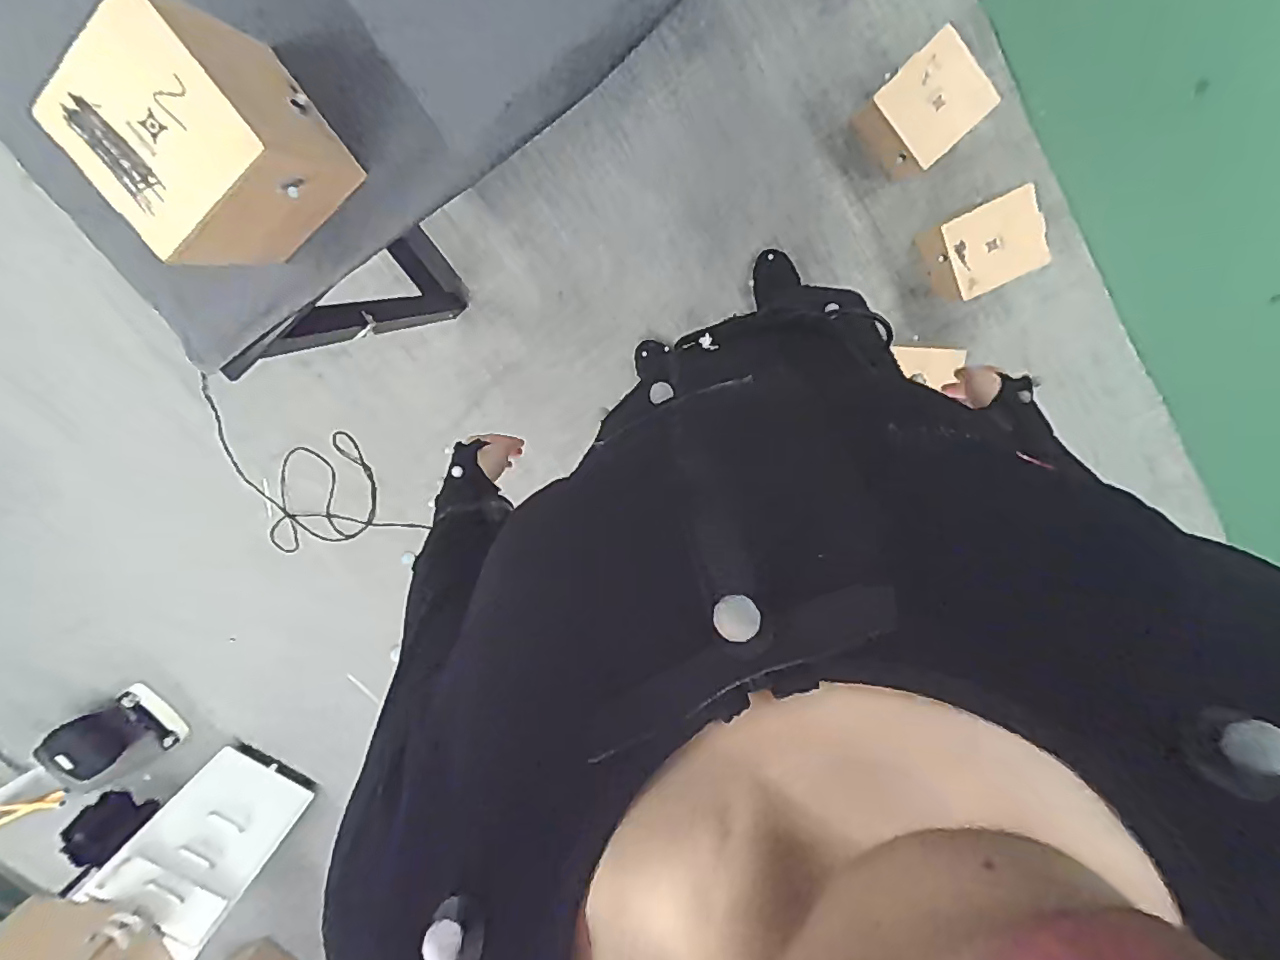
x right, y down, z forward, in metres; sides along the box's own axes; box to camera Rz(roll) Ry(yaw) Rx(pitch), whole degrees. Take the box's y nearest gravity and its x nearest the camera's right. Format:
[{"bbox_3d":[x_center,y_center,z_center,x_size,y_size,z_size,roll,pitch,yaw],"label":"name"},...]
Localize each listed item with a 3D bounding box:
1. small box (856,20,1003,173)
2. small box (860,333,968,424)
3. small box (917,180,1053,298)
[{"bbox_3d":[0.567,-0.748,1.083,0.168,0.176,0.179,-41,102,20],"label":"small box"},{"bbox_3d":[0.635,-0.243,1.278,0.168,0.176,0.179,5,112,6],"label":"small box"},{"bbox_3d":[0.729,-0.511,1.157,0.179,0.176,0.168,-23,108,16],"label":"small box"}]
